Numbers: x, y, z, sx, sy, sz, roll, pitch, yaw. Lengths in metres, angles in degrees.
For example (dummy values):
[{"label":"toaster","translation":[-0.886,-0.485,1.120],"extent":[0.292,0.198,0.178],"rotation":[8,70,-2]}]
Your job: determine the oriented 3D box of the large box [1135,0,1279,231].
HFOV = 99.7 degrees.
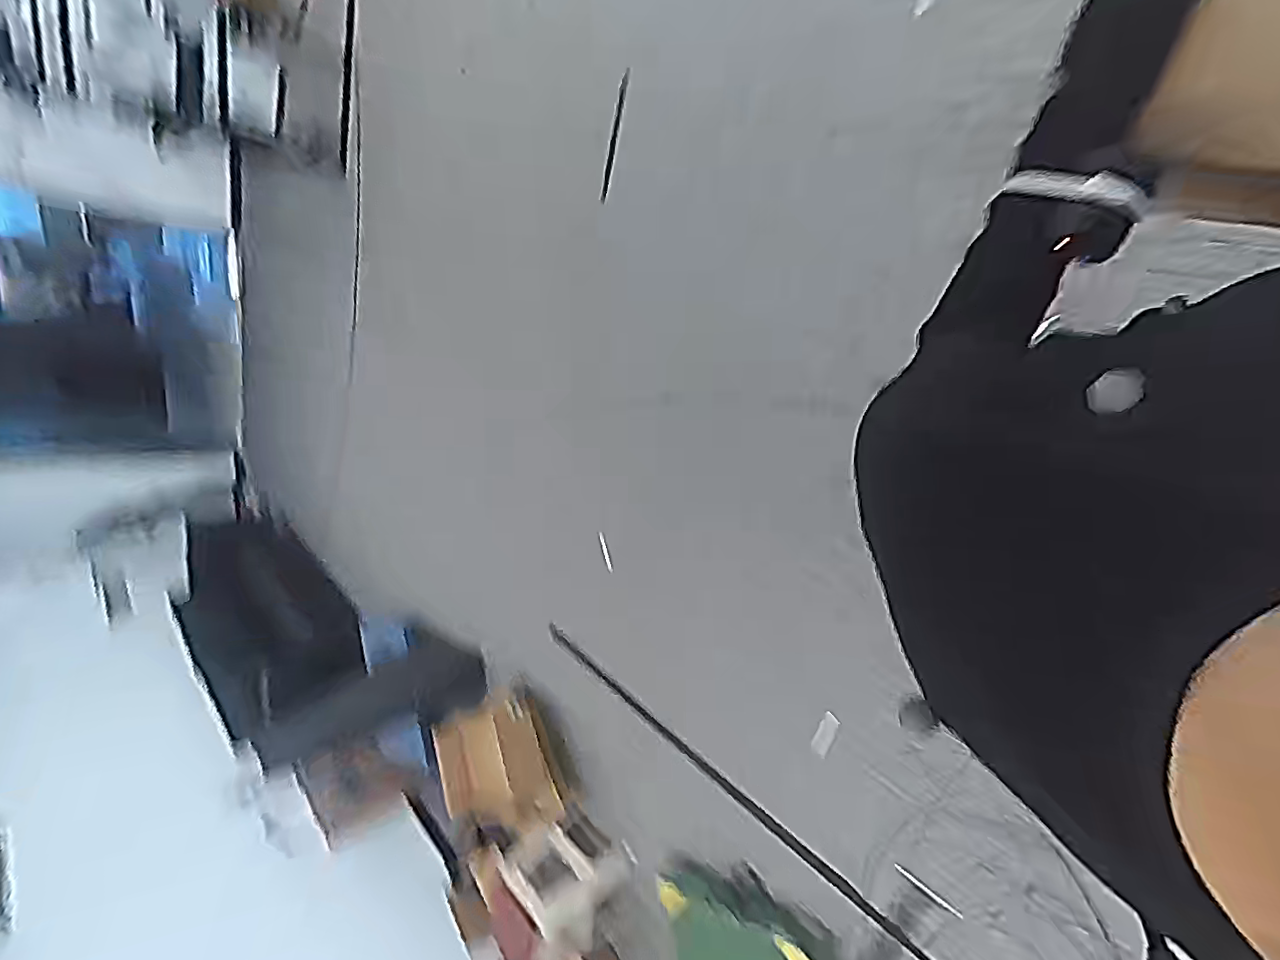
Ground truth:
[{"label":"large box","translation":[0.618,-0.318,0.319],"extent":[0.408,0.320,0.320],"rotation":[30,122,34]}]
